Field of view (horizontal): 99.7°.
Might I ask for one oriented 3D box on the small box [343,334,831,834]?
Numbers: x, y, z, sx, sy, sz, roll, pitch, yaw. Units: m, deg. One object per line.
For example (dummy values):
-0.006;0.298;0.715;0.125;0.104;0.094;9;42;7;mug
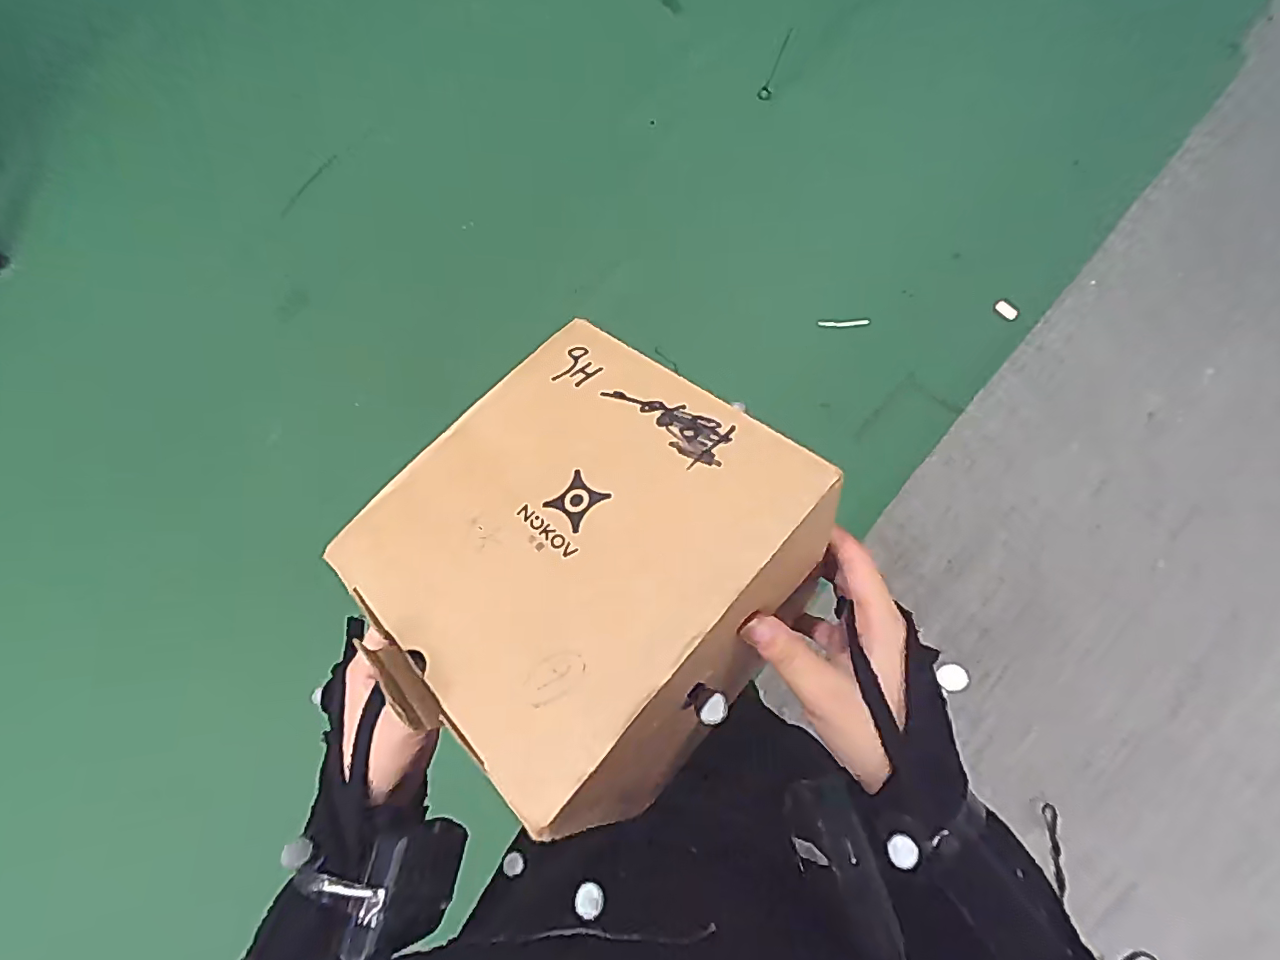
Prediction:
-0.014;0.060;0.311;0.168;0.176;0.179;37;76;28;small box
